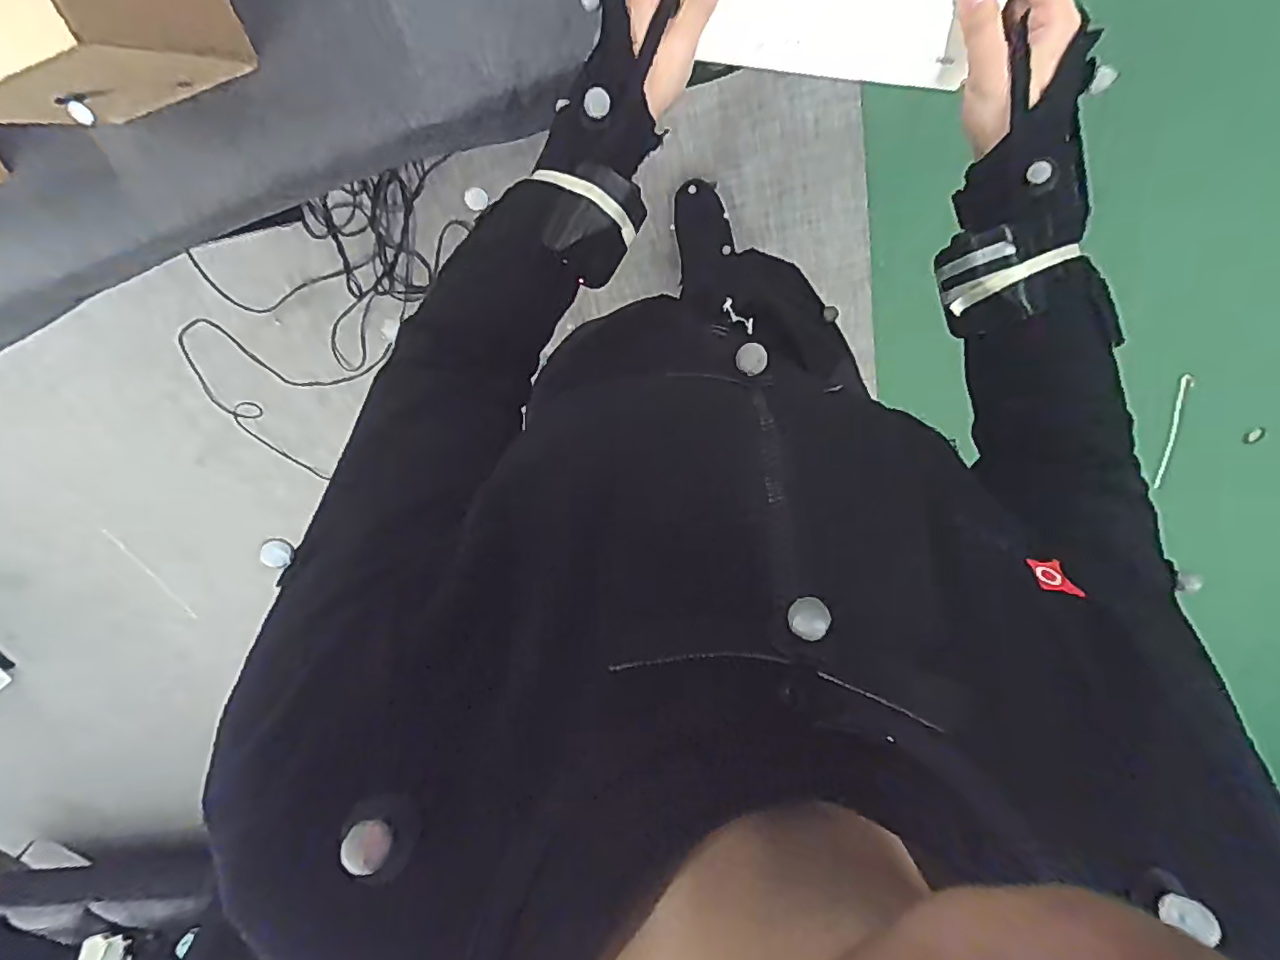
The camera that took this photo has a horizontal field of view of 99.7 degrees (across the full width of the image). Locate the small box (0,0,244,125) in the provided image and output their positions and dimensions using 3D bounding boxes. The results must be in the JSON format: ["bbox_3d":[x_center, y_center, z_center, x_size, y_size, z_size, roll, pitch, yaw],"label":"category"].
[{"bbox_3d":[-0.432,-0.361,0.368,0.168,0.176,0.179,-9,120,13],"label":"small box"}]
